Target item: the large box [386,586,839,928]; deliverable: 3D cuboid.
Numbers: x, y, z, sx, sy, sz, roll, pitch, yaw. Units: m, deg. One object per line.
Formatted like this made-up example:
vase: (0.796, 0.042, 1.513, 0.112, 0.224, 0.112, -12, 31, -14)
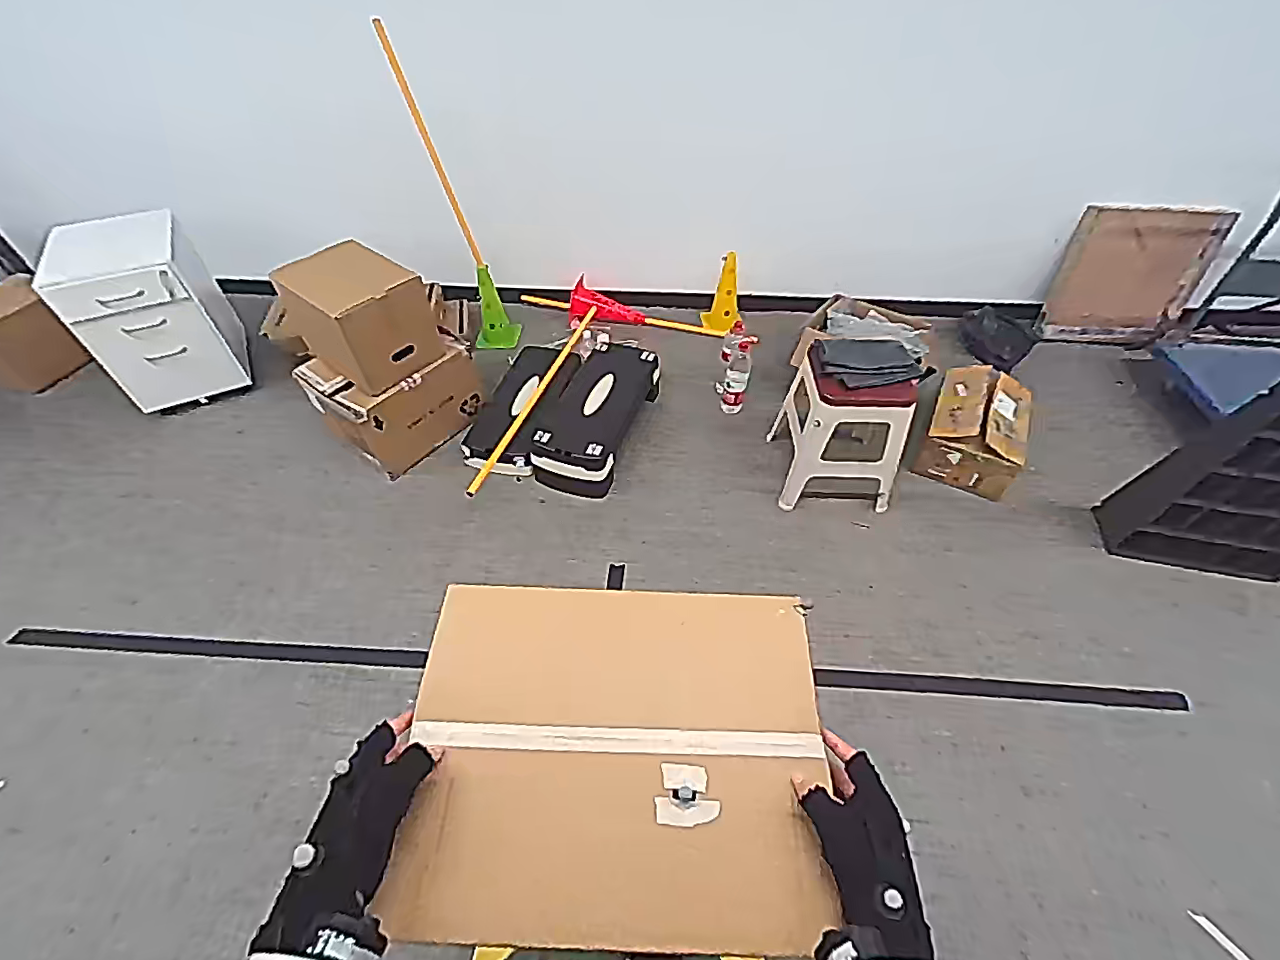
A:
large box: (-0.026, 0.343, 0.673, 0.408, 0.320, 0.320, 2, 55, 0)
